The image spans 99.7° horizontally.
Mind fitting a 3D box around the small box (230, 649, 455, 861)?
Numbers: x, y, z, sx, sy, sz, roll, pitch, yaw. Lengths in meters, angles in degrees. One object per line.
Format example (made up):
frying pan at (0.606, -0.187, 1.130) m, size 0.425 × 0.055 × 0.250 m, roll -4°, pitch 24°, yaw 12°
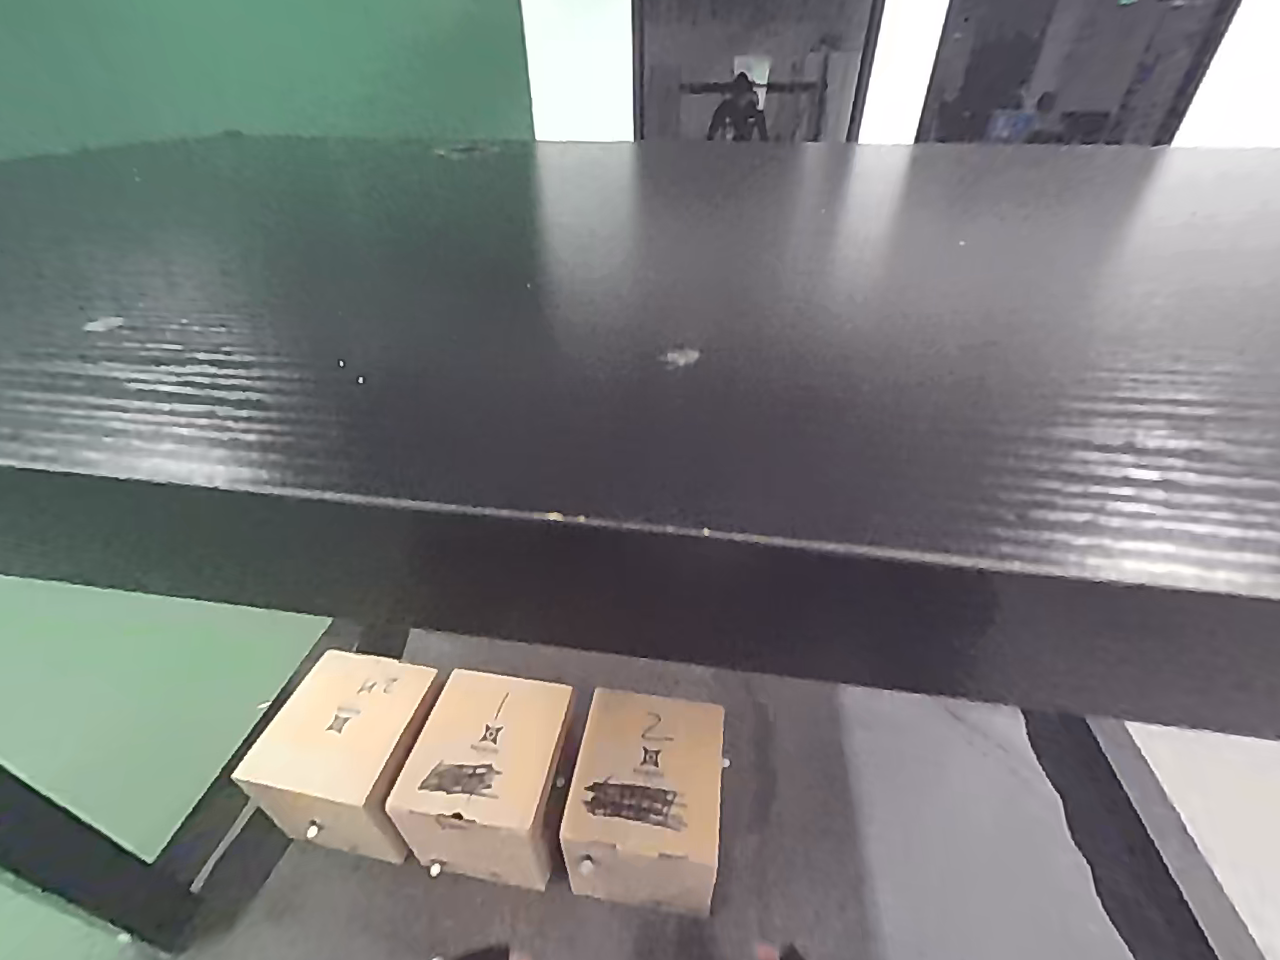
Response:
small box at (-0.360, 0.354, 0.699) m, size 0.168 × 0.176 × 0.179 m, roll 8°, pitch 37°, yaw 8°
